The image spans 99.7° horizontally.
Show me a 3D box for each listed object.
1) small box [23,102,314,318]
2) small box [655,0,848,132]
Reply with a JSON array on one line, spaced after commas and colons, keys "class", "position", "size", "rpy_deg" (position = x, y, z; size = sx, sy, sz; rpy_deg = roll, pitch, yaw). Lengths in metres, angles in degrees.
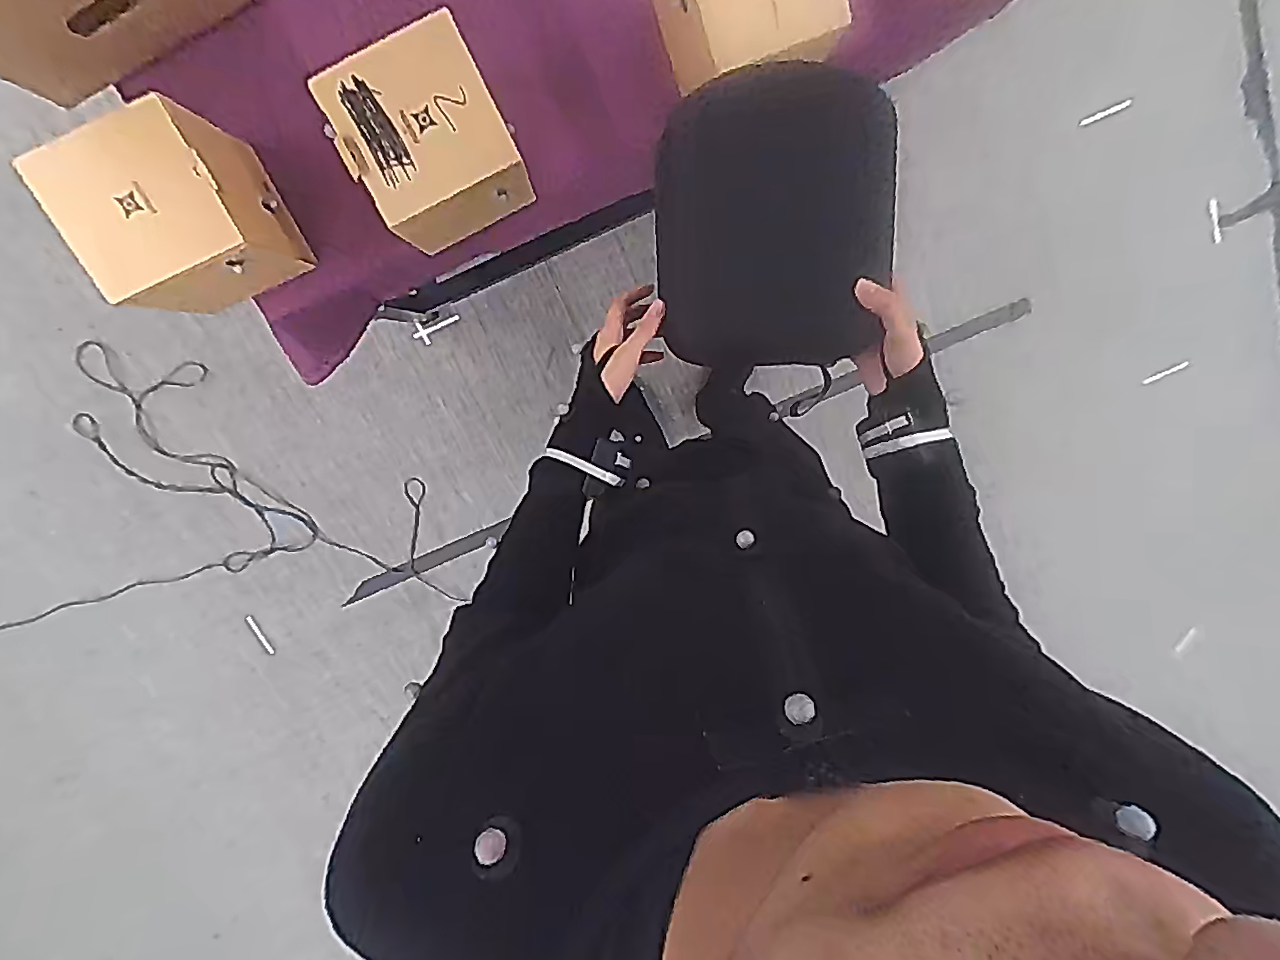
[{"class": "small box", "position": [-0.561, -0.315, 0.675], "size": [0.179, 0.176, 0.168], "rpy_deg": [-26, 104, 0]}, {"class": "small box", "position": [0.126, -0.581, 0.673], "size": [0.168, 0.176, 0.179], "rpy_deg": [-21, 105, 1]}]
